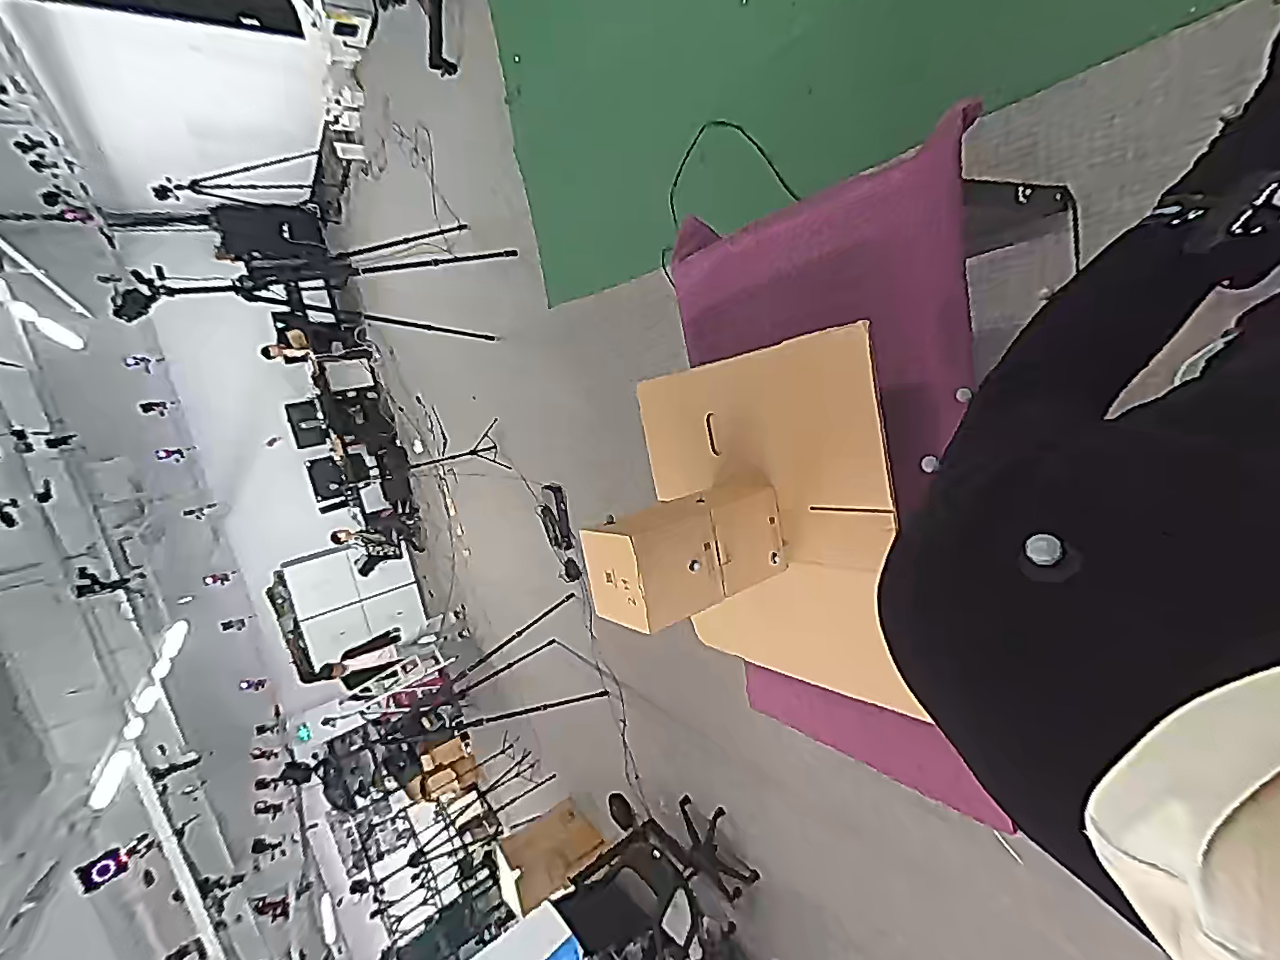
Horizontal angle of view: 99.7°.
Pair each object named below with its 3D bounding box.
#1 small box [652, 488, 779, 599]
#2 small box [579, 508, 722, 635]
[{"bbox_3d":[0.151,0.113,1.048,0.179,0.176,0.168,-1,101,56],"label":"small box"},{"bbox_3d":[0.018,0.150,0.959,0.179,0.176,0.168,-2,102,55],"label":"small box"}]
